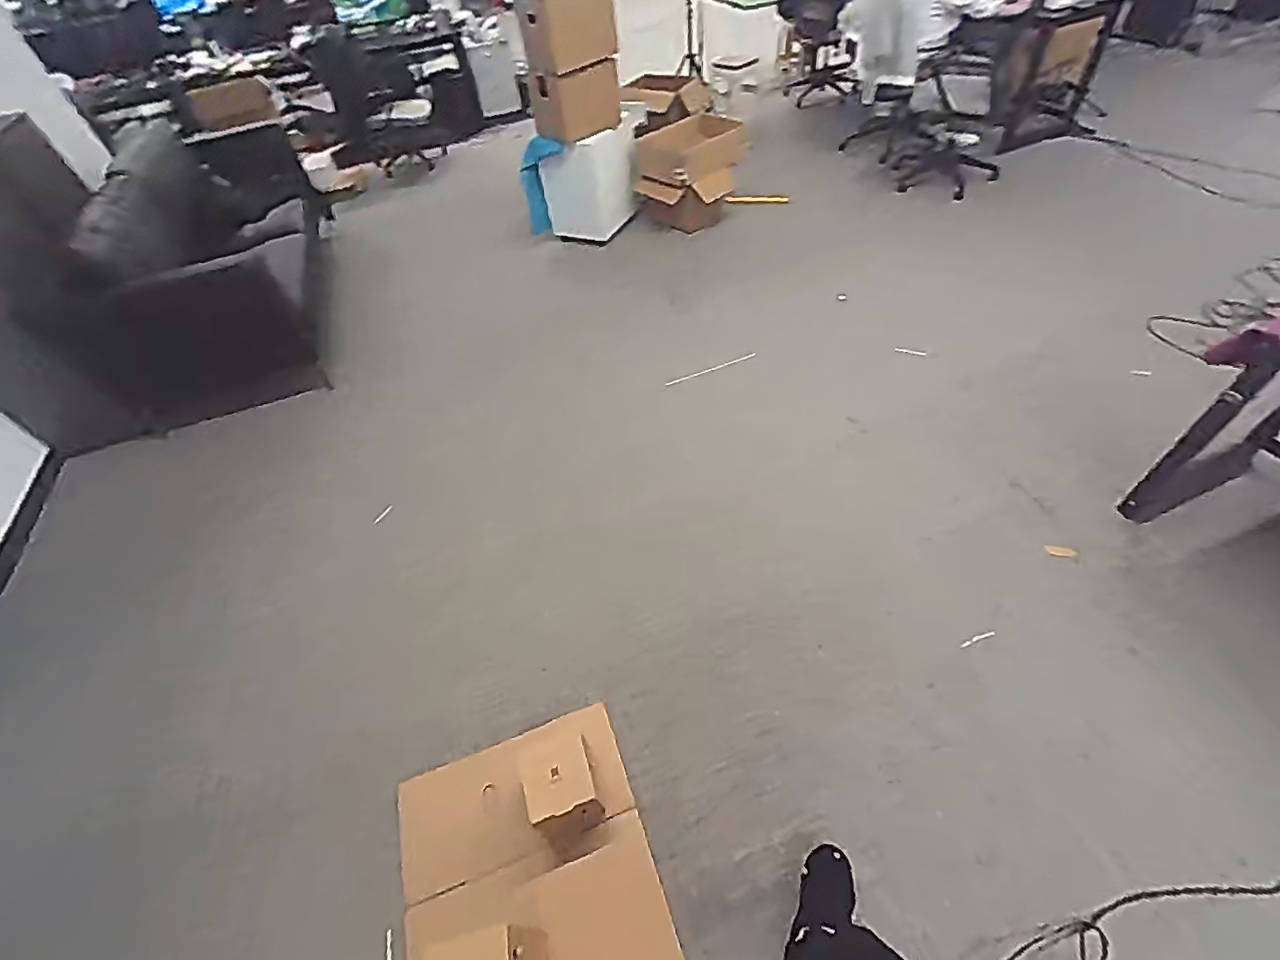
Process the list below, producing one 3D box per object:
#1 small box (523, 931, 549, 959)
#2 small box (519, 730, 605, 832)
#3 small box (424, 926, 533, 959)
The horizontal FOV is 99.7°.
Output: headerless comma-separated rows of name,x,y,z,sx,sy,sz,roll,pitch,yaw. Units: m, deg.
small box,-0.286,1.083,1.137,0.168,0.176,0.179,-13,49,-3
small box,-0.197,0.779,1.390,0.168,0.176,0.179,-18,50,-8
small box,-0.298,0.971,1.015,0.168,0.176,0.179,-13,49,-3
